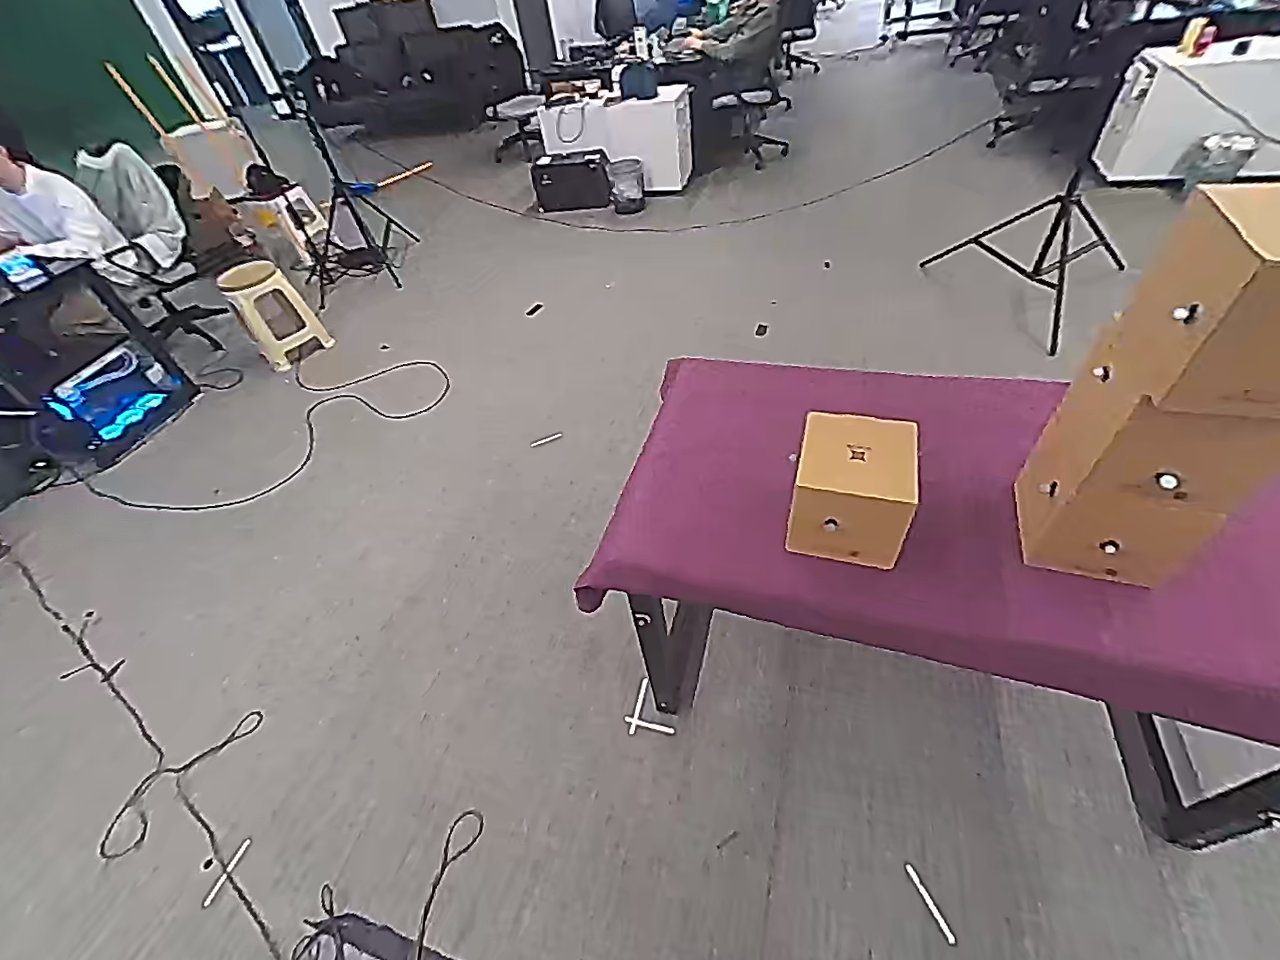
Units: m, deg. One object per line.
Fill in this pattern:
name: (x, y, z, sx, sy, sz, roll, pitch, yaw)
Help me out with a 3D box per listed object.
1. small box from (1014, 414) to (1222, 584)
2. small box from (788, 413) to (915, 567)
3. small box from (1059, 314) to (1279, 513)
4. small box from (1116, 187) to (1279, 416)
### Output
small box: (0.685, 0.029, 0.804, 0.168, 0.176, 0.179, 11, 49, 18)
small box: (0.337, 0.016, 0.874, 0.168, 0.176, 0.179, 9, 48, 17)
small box: (0.670, -0.086, 0.687, 0.168, 0.176, 0.179, 10, 50, 18)
small box: (0.646, -0.181, 0.556, 0.168, 0.176, 0.179, 8, 48, 15)
